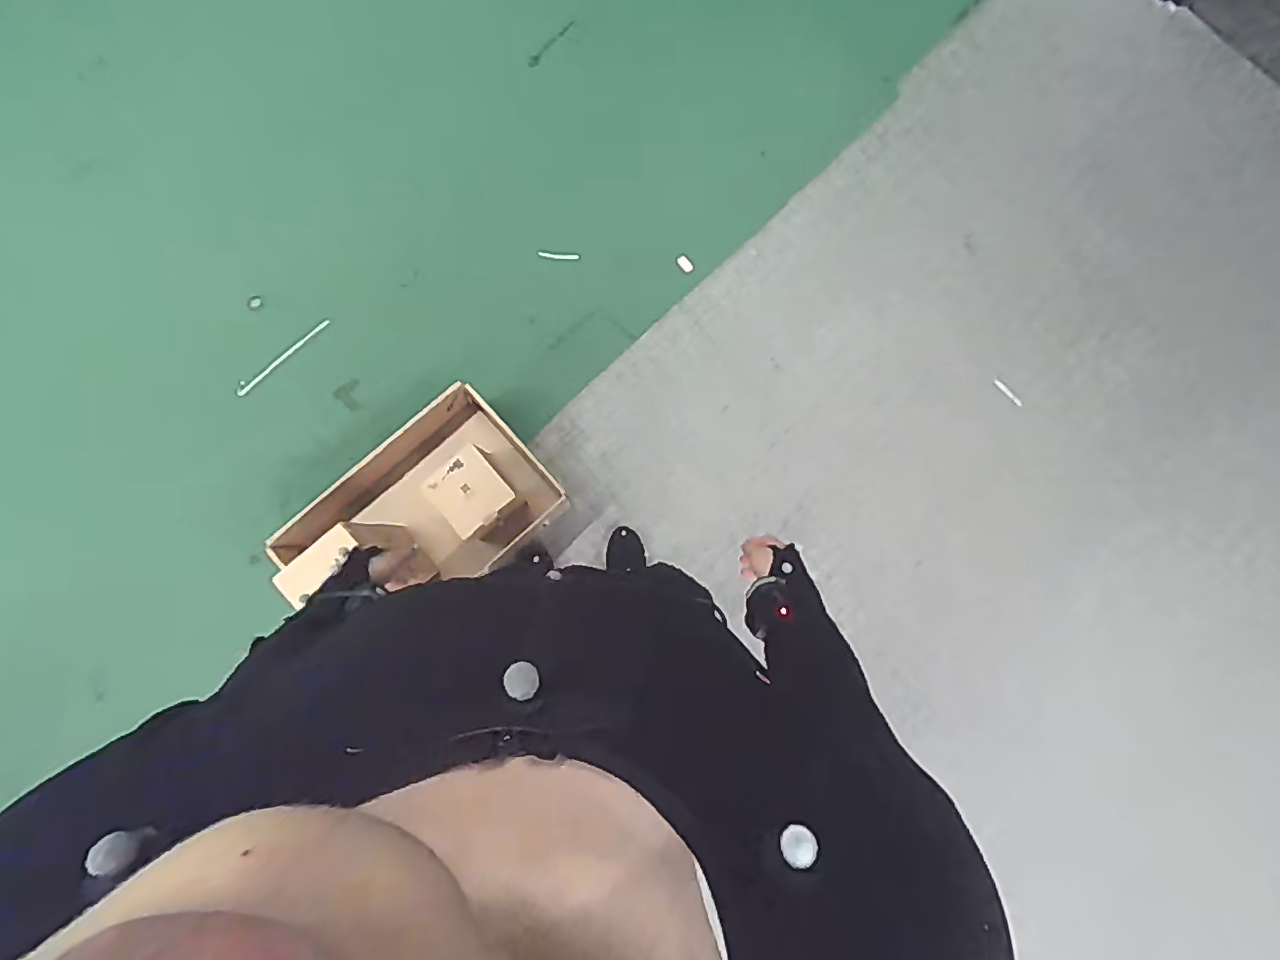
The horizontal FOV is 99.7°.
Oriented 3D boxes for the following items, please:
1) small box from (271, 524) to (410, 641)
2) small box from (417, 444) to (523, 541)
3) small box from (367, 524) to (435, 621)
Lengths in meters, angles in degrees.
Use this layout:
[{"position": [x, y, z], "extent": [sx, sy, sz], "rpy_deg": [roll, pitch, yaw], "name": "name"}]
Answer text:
[{"position": [-0.620, 0.210, 1.153], "extent": [0.179, 0.176, 0.168], "rpy_deg": [-42, 88, -7], "name": "small box"}, {"position": [-0.414, 0.033, 1.355], "extent": [0.168, 0.176, 0.179], "rpy_deg": [-41, 89, -6], "name": "small box"}, {"position": [-0.634, 0.226, 1.316], "extent": [0.179, 0.176, 0.168], "rpy_deg": [-43, 89, -8], "name": "small box"}]
